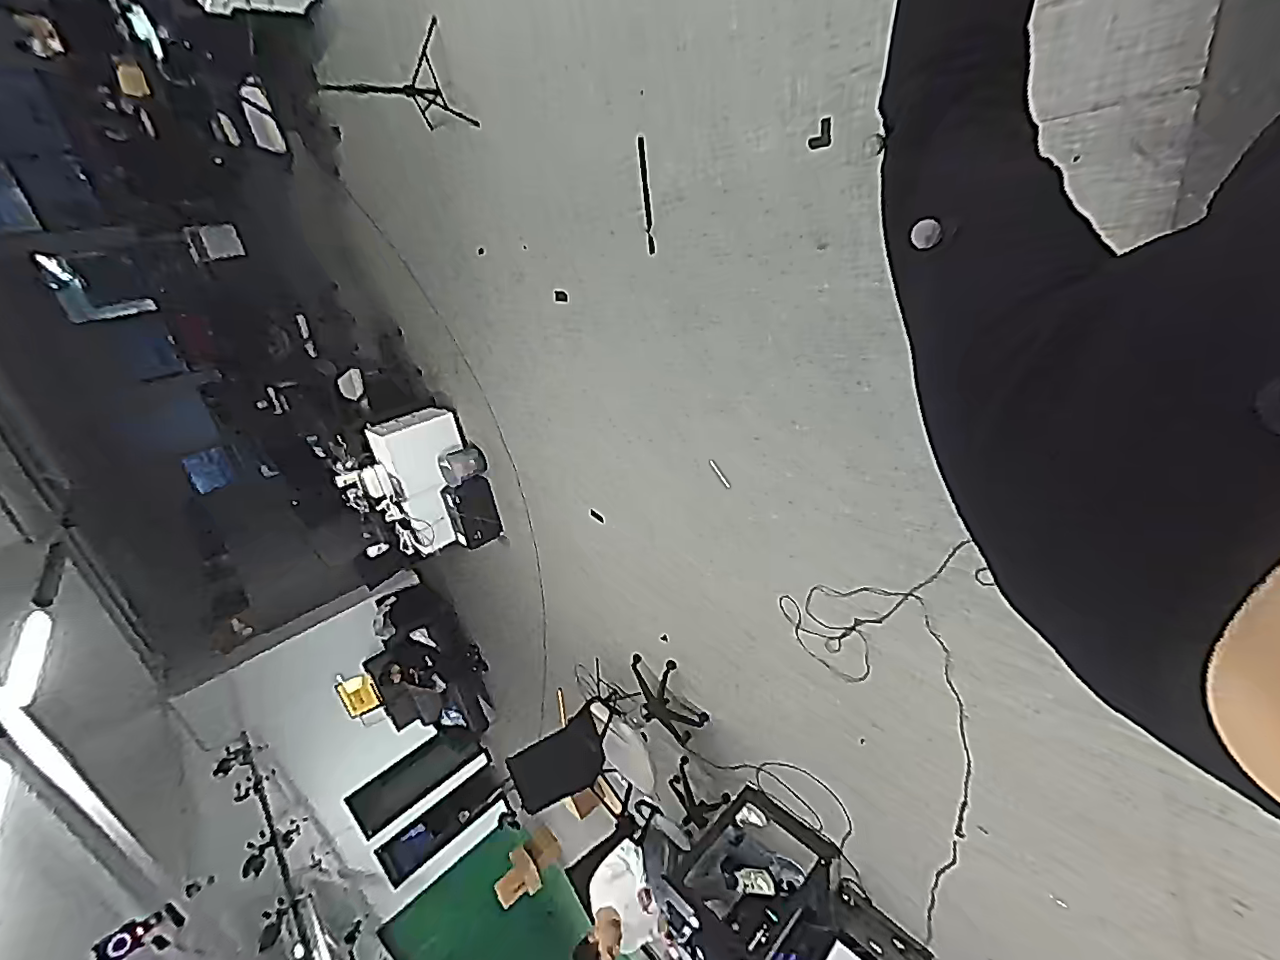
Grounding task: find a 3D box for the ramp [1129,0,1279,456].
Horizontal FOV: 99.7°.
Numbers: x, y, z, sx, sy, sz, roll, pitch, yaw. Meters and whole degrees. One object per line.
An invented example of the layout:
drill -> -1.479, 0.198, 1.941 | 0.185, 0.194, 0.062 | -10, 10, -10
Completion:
ramp -> 1.191, -0.453, 0.865 | 0.509, 0.206, 0.991 | 14, 124, 45
